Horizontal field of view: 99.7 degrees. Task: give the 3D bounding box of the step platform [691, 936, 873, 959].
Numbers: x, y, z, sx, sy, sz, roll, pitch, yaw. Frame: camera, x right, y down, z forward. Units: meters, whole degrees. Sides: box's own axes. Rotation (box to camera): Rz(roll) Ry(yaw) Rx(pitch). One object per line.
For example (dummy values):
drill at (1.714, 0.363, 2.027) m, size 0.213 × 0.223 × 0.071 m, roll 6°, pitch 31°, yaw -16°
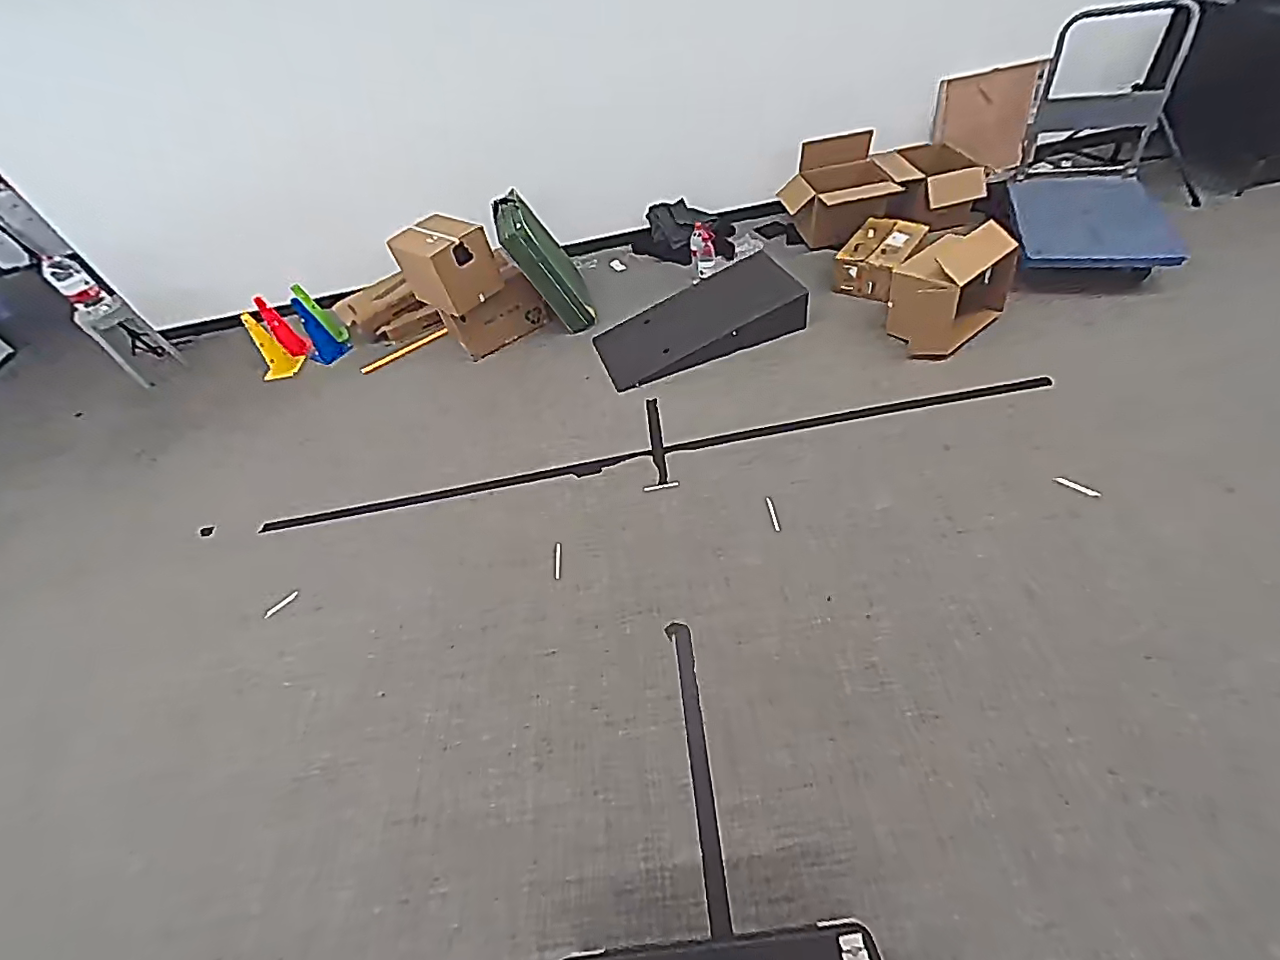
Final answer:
step platform at (0.156, 1.111, 1.049) m, size 0.684 × 0.204 × 0.286 m, roll -10°, pitch 49°, yaw 2°
